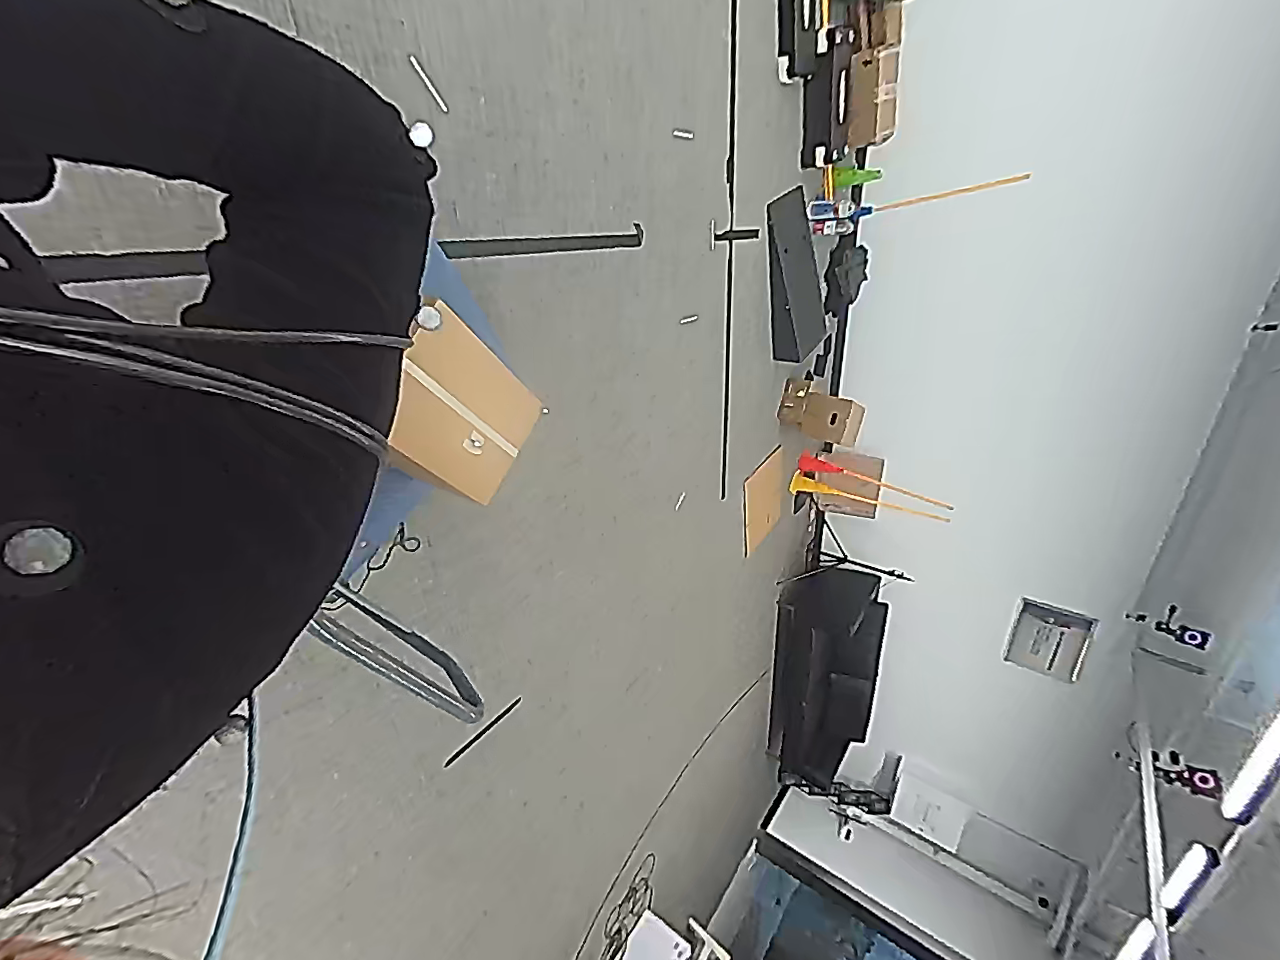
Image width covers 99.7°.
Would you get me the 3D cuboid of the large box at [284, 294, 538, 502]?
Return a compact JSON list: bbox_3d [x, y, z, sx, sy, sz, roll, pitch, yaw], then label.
[{"bbox_3d":[-0.533,-0.194,1.311,0.320,0.320,0.408,-63,146,-16],"label":"large box"}]
